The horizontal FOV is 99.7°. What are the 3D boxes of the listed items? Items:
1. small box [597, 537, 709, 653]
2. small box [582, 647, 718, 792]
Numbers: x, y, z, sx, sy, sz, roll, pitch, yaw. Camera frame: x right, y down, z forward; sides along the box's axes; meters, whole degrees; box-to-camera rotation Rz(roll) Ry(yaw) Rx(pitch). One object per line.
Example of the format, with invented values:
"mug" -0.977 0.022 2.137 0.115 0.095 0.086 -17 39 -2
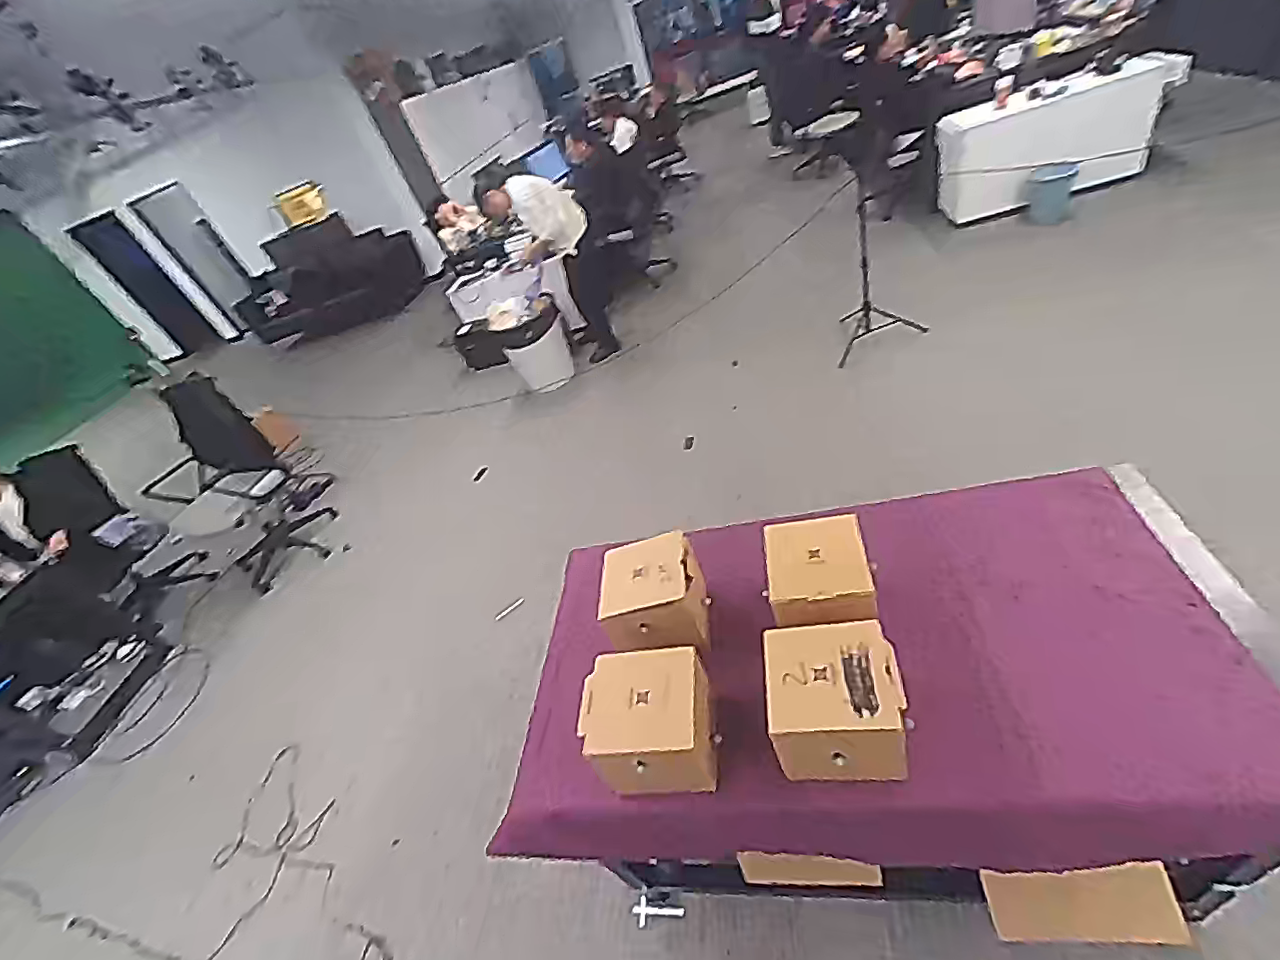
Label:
"small box" 0.032 0.240 1.078 0.179 0.176 0.168 -12 40 14
"small box" 0.024 0.400 0.897 0.179 0.176 0.168 -10 40 15
